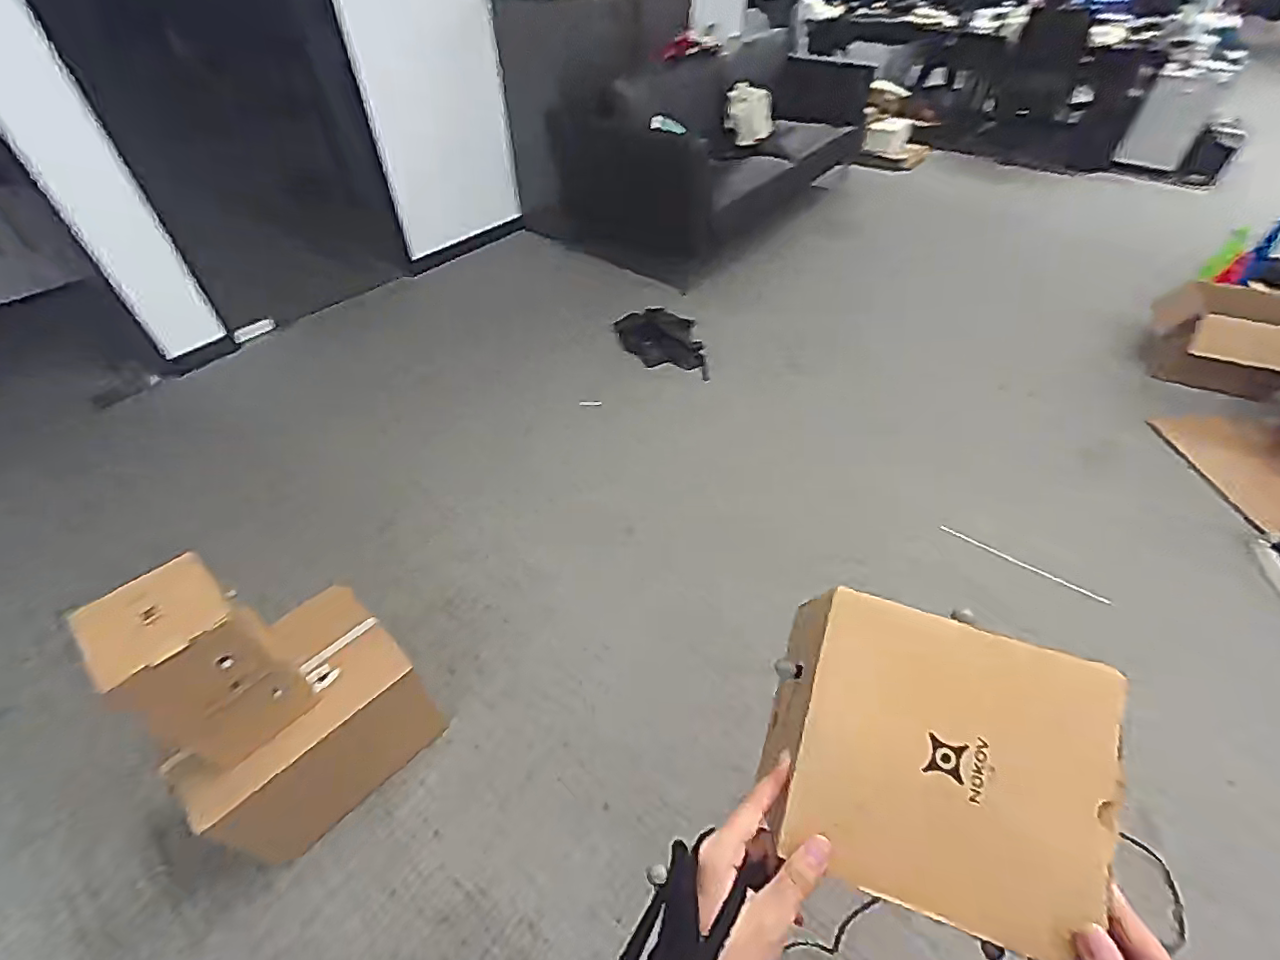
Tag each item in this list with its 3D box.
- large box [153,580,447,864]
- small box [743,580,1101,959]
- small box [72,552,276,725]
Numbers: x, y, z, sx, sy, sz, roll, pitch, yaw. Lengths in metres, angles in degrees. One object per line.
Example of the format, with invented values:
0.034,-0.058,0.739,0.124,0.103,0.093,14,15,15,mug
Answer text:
-0.704,0.510,1.173,0.320,0.320,0.408,34,53,27,large box
0.182,0.186,0.397,0.179,0.176,0.168,15,74,10,small box
-0.720,0.254,0.853,0.179,0.176,0.168,33,52,28,small box
